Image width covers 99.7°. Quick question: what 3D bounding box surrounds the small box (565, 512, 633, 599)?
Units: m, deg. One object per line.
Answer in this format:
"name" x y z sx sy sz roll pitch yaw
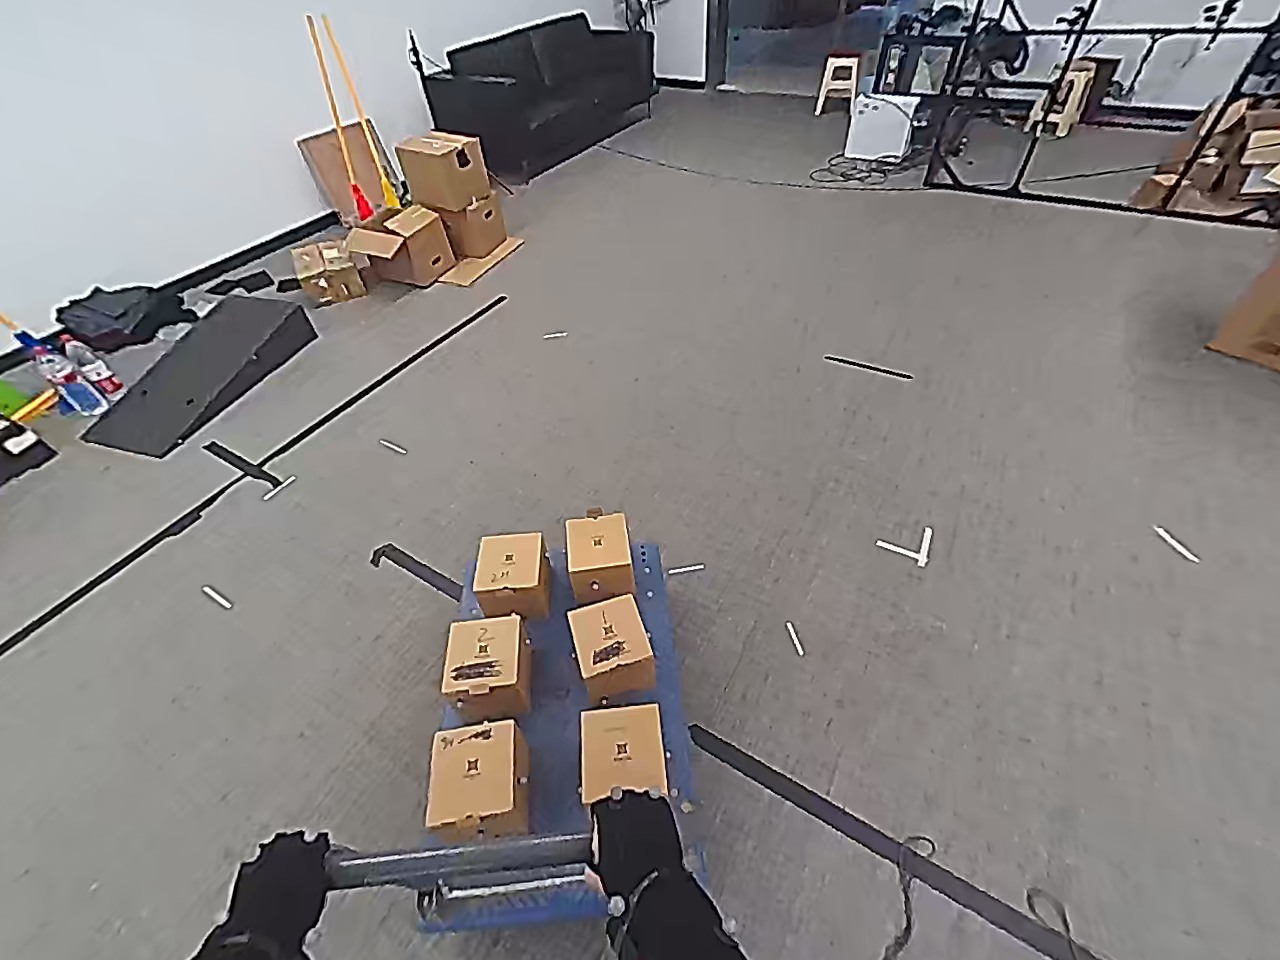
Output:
"small box" -0.113 0.216 1.511 0.168 0.176 0.179 -8 46 -4

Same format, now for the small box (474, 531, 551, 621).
"small box" -0.340 0.262 1.474 0.168 0.176 0.179 -4 47 -1

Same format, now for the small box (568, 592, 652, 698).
"small box" -0.070 0.410 1.323 0.168 0.176 0.179 -14 46 -11

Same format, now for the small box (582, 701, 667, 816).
"small box" -0.033 0.594 1.146 0.168 0.176 0.179 -4 46 -2

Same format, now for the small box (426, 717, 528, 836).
"small box" -0.329 0.623 1.129 0.168 0.176 0.179 -7 47 -6
